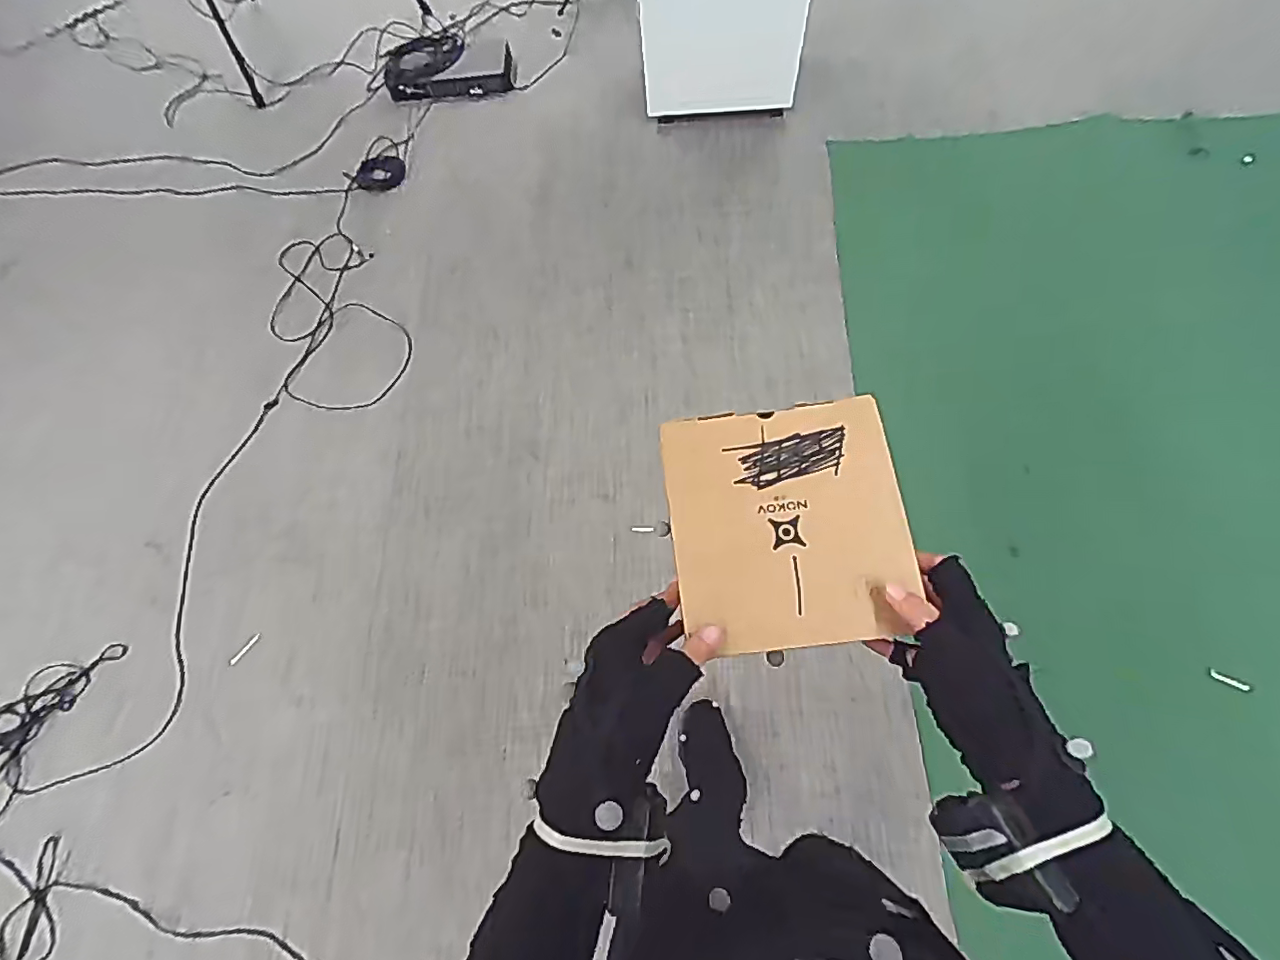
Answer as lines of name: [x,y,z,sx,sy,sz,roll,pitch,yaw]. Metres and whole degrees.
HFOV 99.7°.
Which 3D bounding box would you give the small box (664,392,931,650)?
small box: [0.111,0.047,0.463,0.168,0.176,0.179,-7,74,3]
